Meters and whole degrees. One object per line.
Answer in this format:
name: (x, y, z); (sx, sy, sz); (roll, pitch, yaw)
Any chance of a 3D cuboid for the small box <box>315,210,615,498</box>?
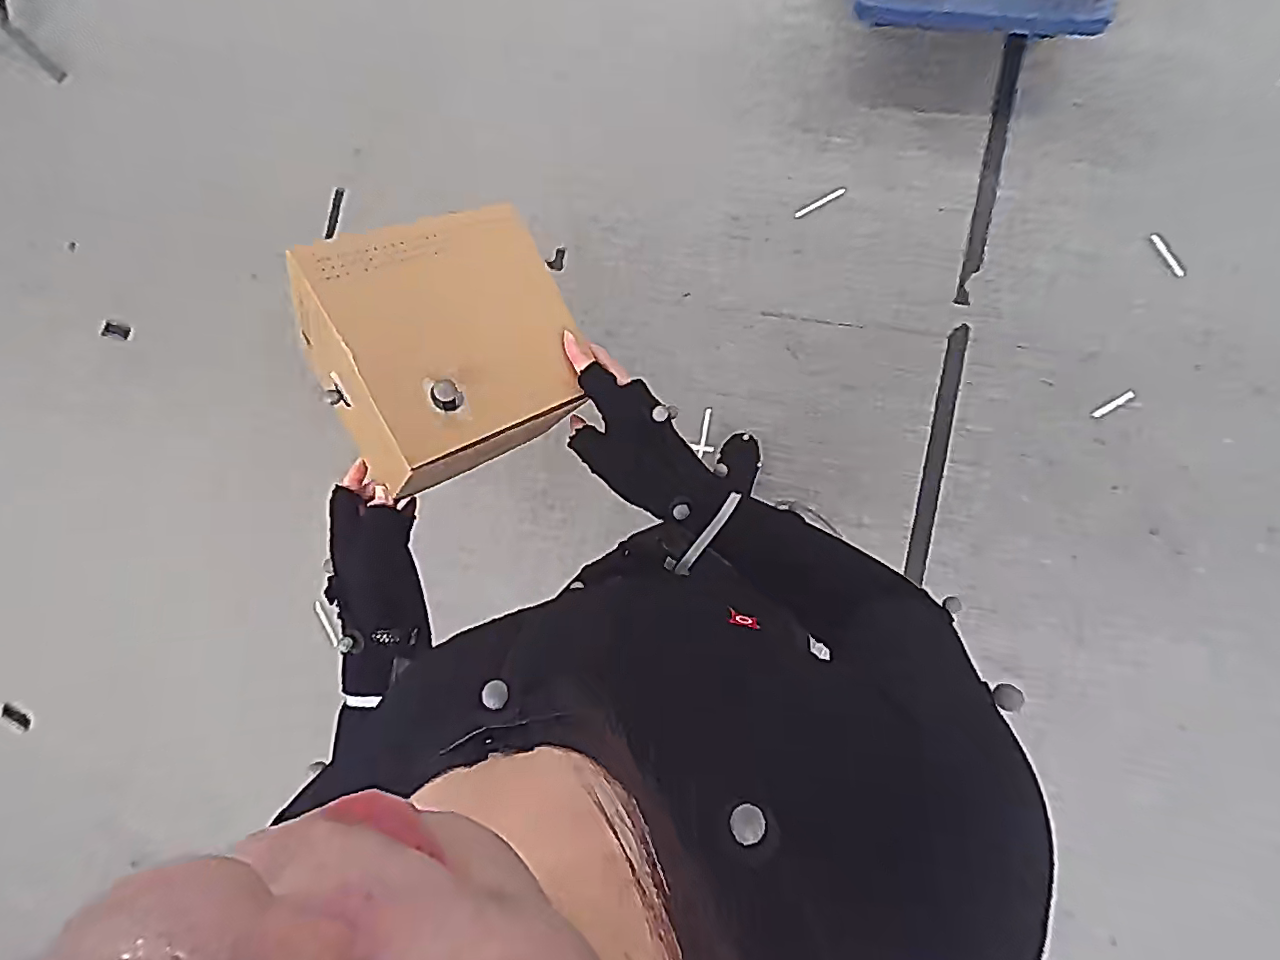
small box: (-0.159, -0.105, 0.473); (0.179, 0.168, 0.176); (-29, 96, -31)
